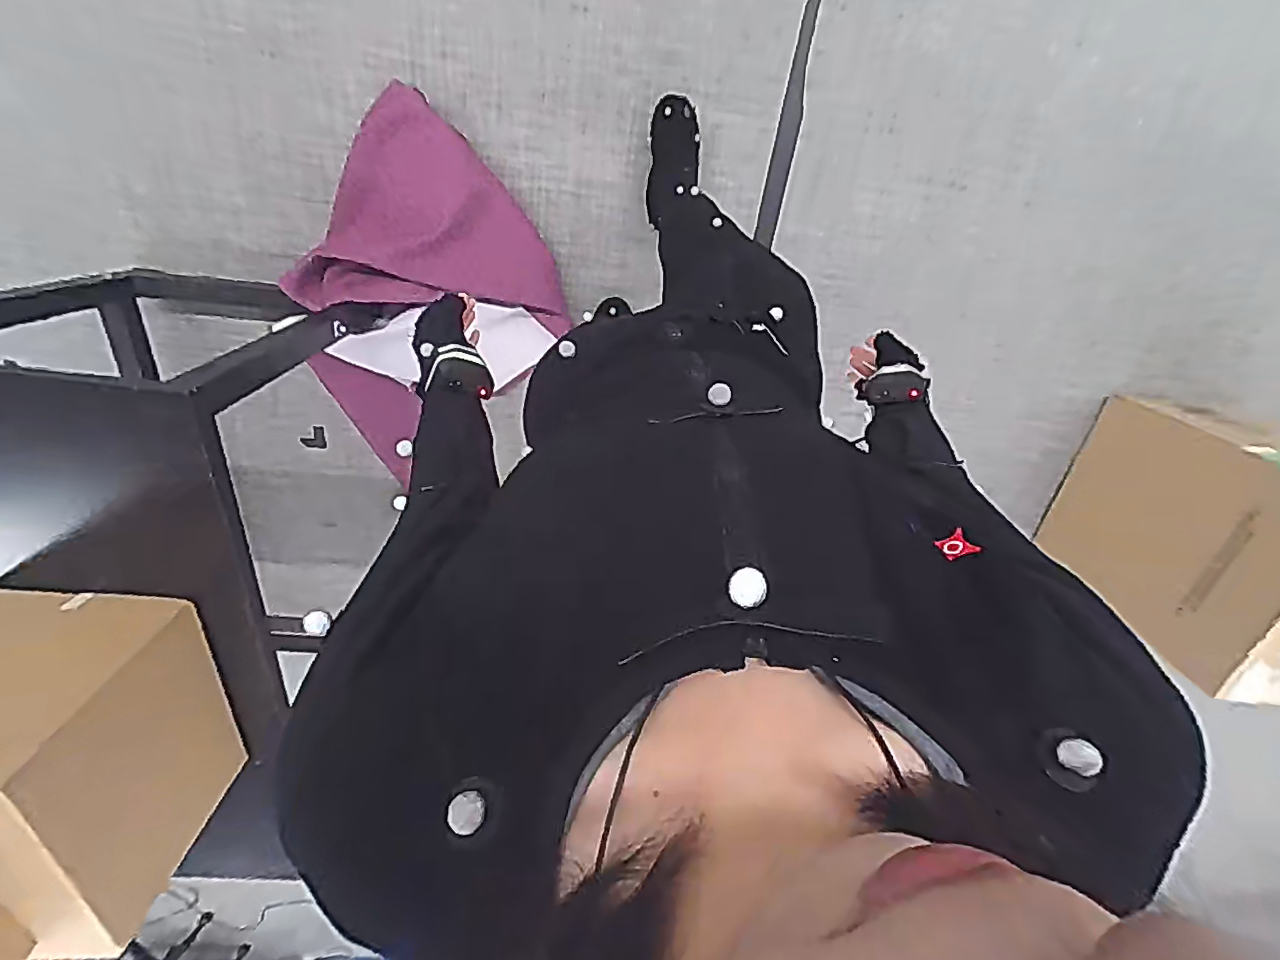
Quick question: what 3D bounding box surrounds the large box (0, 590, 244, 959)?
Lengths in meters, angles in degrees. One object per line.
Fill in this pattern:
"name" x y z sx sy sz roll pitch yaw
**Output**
"large box" -0.875 0.419 0.796 0.320 0.320 0.408 4 117 -5
